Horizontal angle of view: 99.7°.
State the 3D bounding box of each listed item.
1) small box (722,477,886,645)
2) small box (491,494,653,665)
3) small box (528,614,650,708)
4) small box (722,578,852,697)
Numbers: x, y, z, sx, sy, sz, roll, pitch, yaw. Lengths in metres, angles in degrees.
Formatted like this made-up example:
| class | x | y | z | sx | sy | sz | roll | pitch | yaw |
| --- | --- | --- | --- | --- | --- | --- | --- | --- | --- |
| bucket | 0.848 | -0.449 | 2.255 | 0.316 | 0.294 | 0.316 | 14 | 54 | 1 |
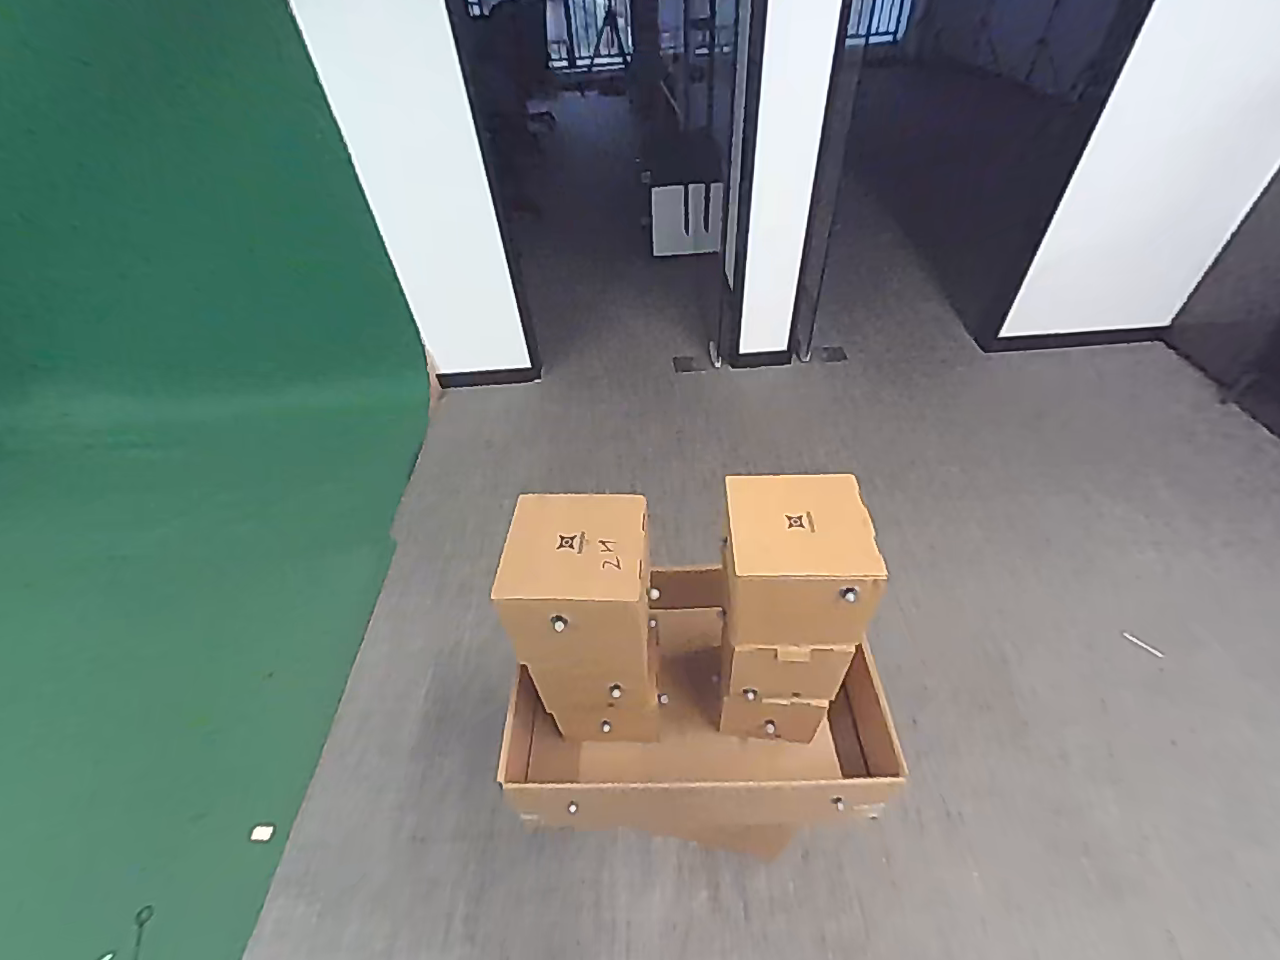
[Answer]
| class | x | y | z | sx | sy | sz | roll | pitch | yaw |
| --- | --- | --- | --- | --- | --- | --- | --- | --- | --- |
| small box | 0.204 | 0.112 | 0.736 | 0.179 | 0.176 | 0.168 | 0 | 46 | 3 |
| small box | -0.077 | 0.136 | 0.730 | 0.179 | 0.176 | 0.168 | 1 | 47 | 5 |
| small box | -0.069 | 0.245 | 0.854 | 0.168 | 0.176 | 0.179 | -1 | 46 | 2 |
| small box | 0.217 | 0.226 | 0.852 | 0.168 | 0.176 | 0.179 | 0 | 45 | 4 |
